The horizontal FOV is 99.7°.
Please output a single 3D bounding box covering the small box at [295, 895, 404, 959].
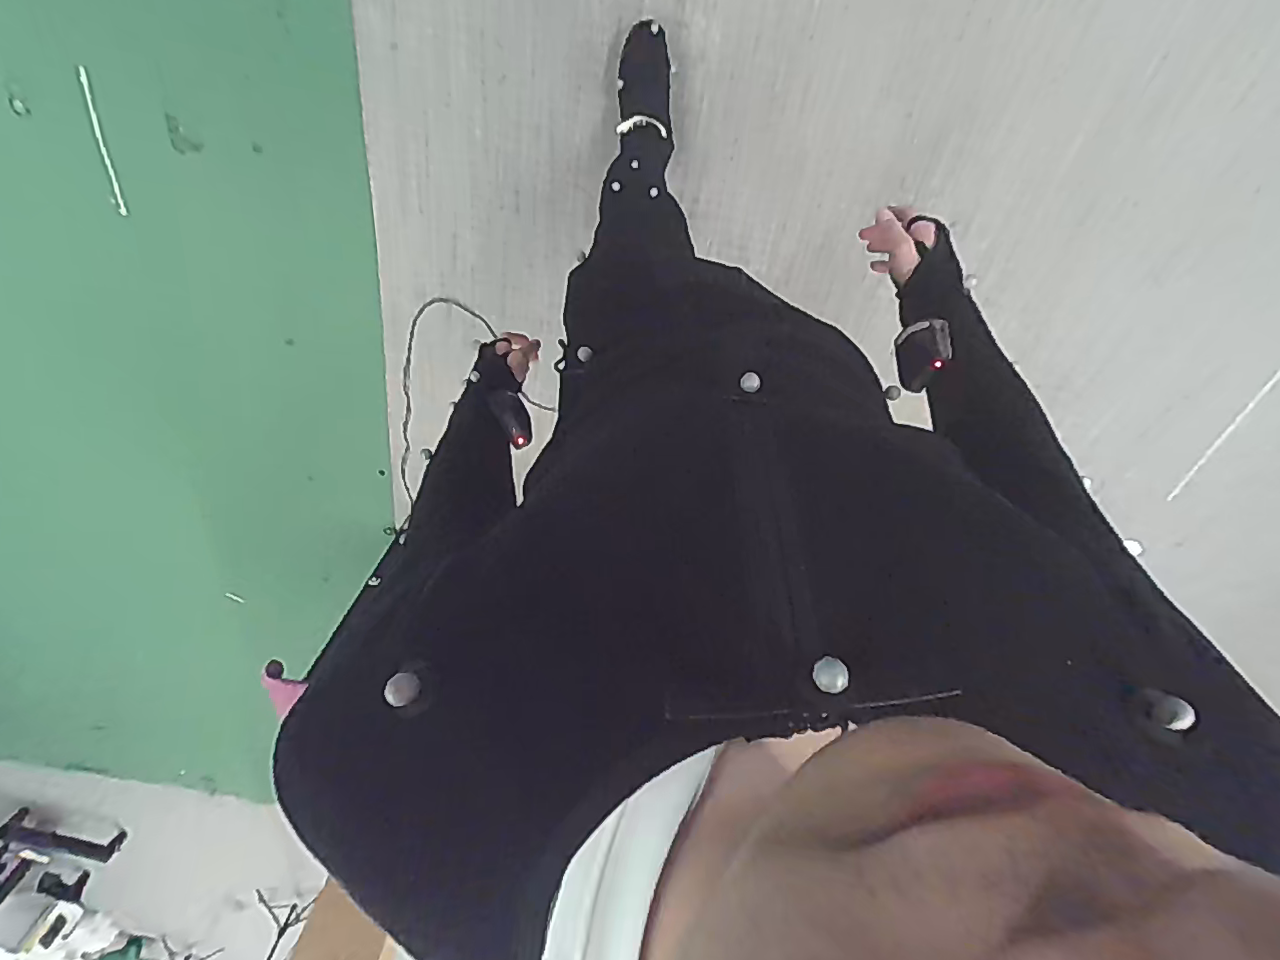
[{"bbox_3d":[-0.617,1.013,1.146,0.179,0.176,0.168,9,122,-3],"label":"small box"}]
